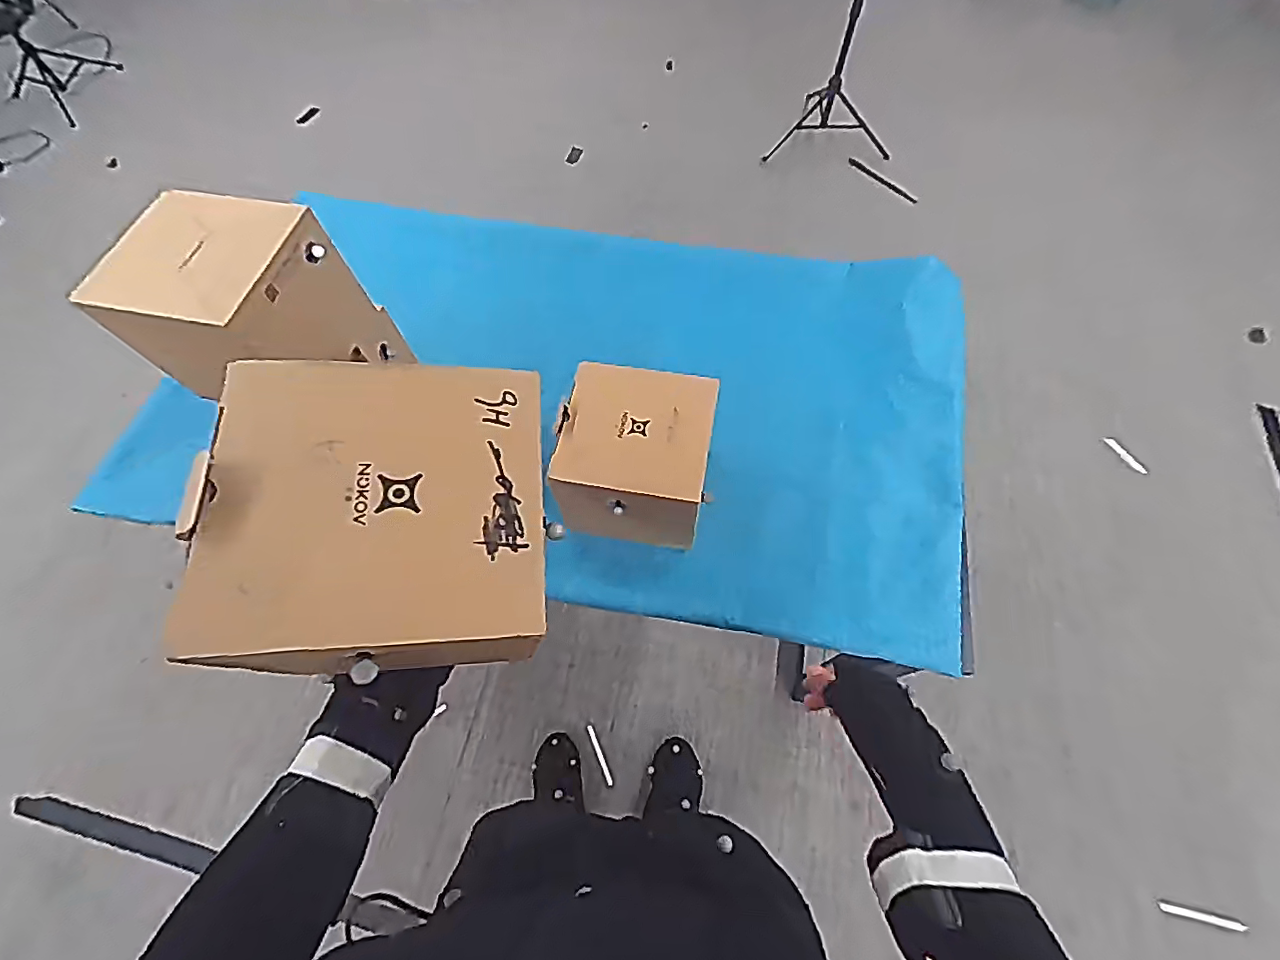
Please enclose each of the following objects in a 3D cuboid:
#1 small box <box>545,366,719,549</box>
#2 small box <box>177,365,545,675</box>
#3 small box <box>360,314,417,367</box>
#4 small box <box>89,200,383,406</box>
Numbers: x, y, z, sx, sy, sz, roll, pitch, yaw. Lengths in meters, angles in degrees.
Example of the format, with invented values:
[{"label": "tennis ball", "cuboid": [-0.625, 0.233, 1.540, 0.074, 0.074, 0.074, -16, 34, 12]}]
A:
[{"label": "small box", "cuboid": [-0.002, -0.022, 0.696, 0.179, 0.176, 0.168, 9, 65, 8]}, {"label": "small box", "cuboid": [-0.159, 0.037, 0.375, 0.179, 0.176, 0.168, -2, 68, -14]}, {"label": "small box", "cuboid": [-0.433, -0.127, 0.772, 0.168, 0.176, 0.179, 11, 67, 10]}, {"label": "small box", "cuboid": [-0.440, -0.188, 0.616, 0.179, 0.176, 0.168, 10, 65, 8]}]
